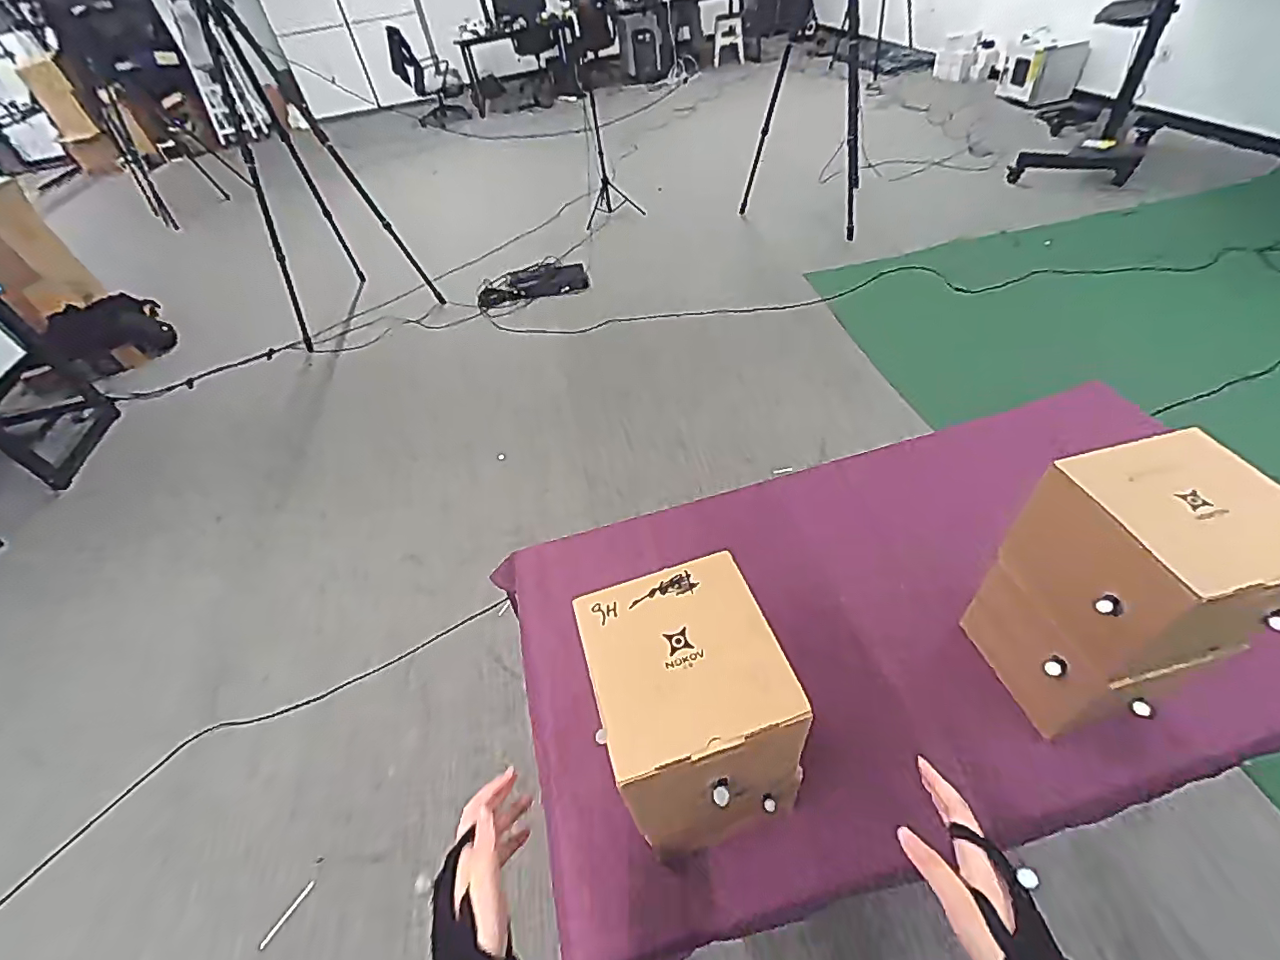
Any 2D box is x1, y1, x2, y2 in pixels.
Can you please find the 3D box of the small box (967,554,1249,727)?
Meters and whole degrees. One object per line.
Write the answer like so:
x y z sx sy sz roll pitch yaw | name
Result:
0.557 0.188 0.679 0.168 0.176 0.179 -15 45 -3 | small box

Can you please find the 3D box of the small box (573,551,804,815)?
0.044 0.206 0.536 0.168 0.176 0.179 -17 46 -6 | small box

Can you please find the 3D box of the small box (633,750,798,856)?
0.072 0.321 0.651 0.179 0.176 0.168 -16 45 -6 | small box

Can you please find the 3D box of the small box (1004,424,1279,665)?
0.533 0.074 0.565 0.168 0.176 0.179 -13 45 -2 | small box
